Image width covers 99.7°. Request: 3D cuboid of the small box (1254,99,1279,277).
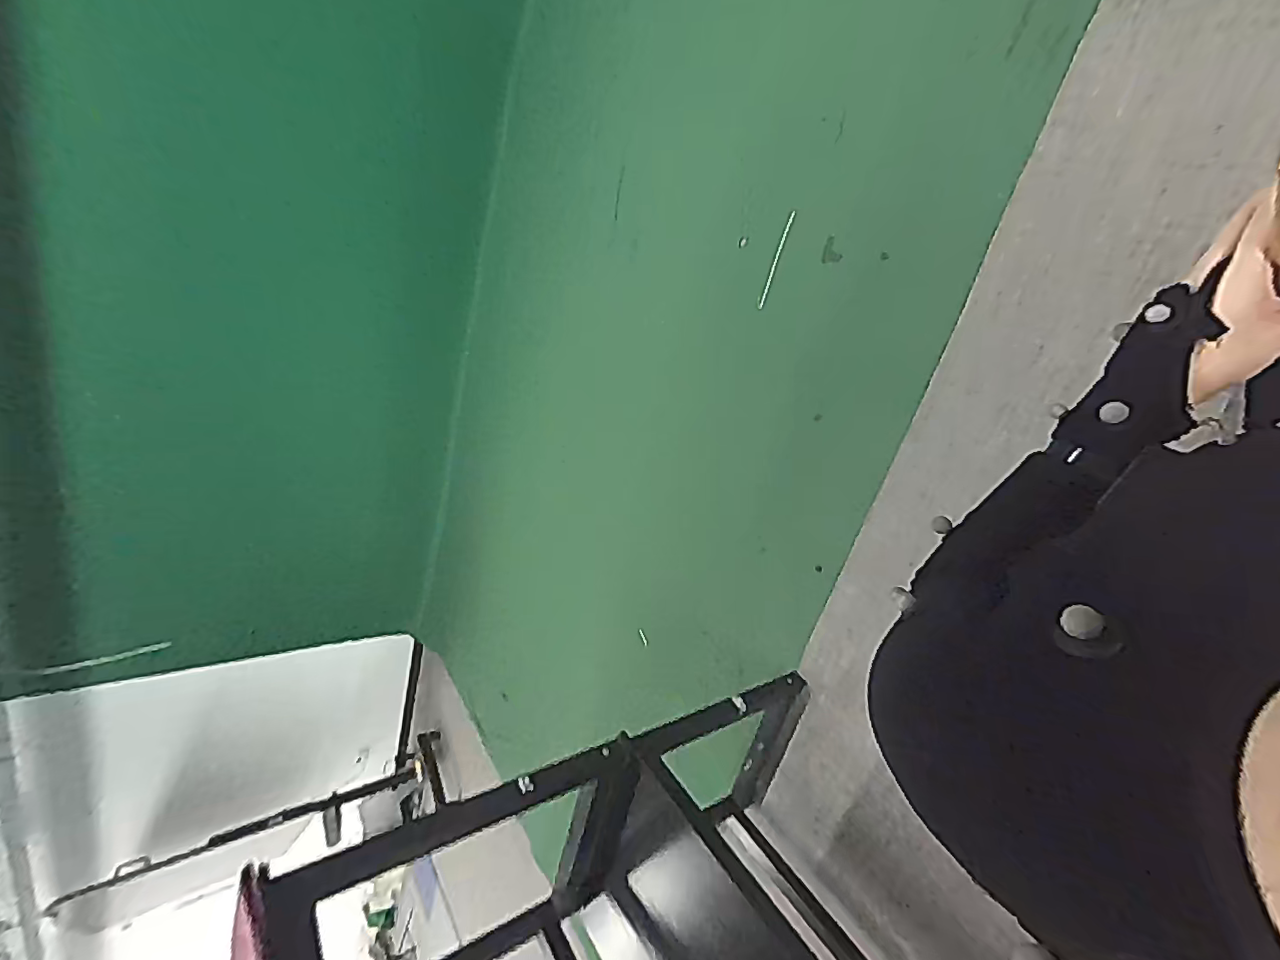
[{"bbox_3d":[0.445,-0.203,0.255,0.179,0.176,0.168,23,99,46],"label":"small box"}]
